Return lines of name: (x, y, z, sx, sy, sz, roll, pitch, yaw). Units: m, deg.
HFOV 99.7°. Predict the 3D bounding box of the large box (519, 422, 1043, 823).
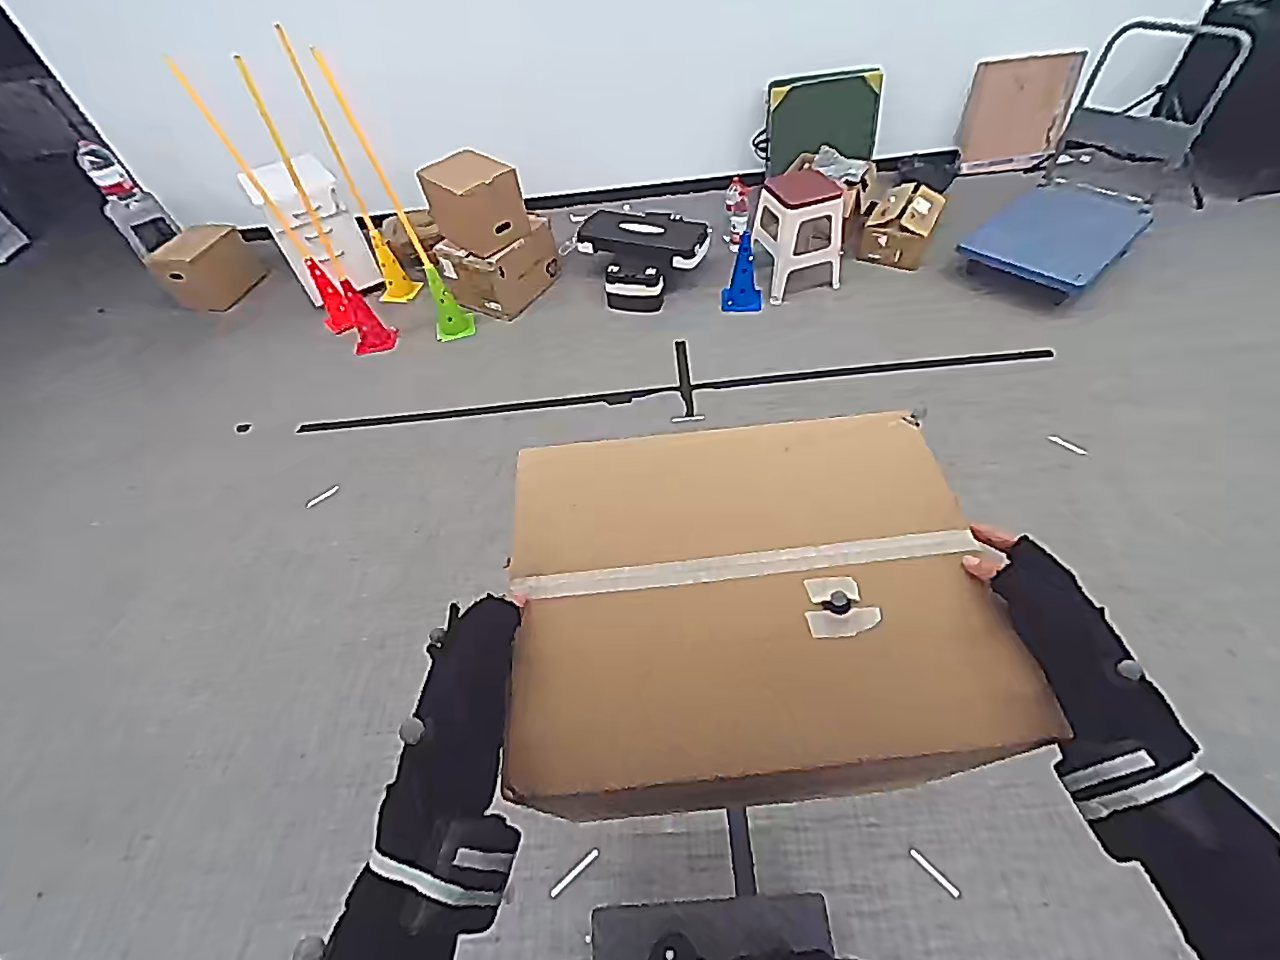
large box: (0.097, 0.170, 0.604, 0.408, 0.320, 0.320, -6, 55, -1)
